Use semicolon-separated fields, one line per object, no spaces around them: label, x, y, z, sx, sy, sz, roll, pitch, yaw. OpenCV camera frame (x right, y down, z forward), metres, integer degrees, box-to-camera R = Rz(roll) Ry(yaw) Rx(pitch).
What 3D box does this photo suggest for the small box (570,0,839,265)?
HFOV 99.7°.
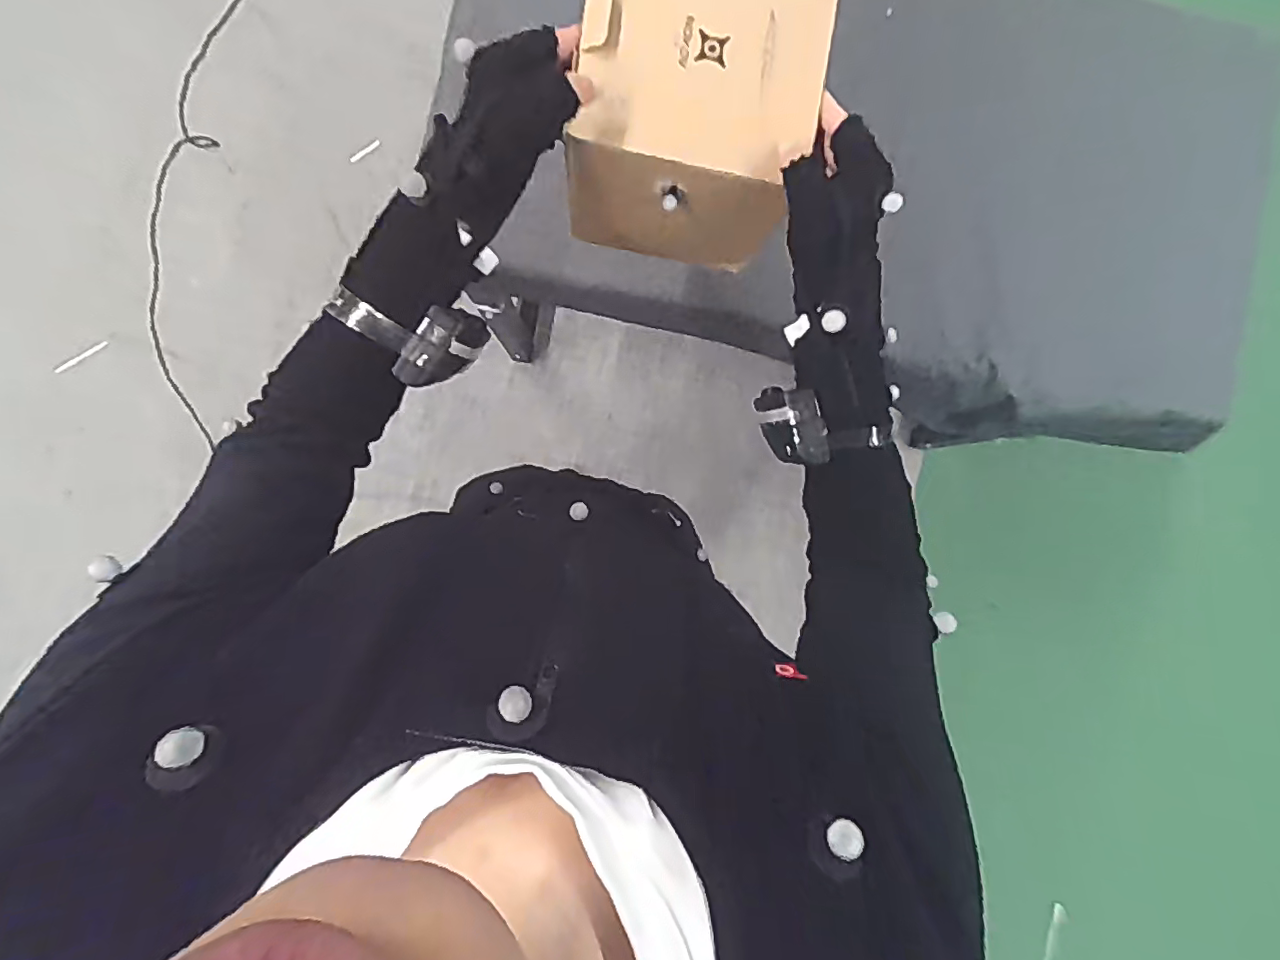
small box;0.039;-0.301;0.454;0.179;0.176;0.168;8;91;-8
